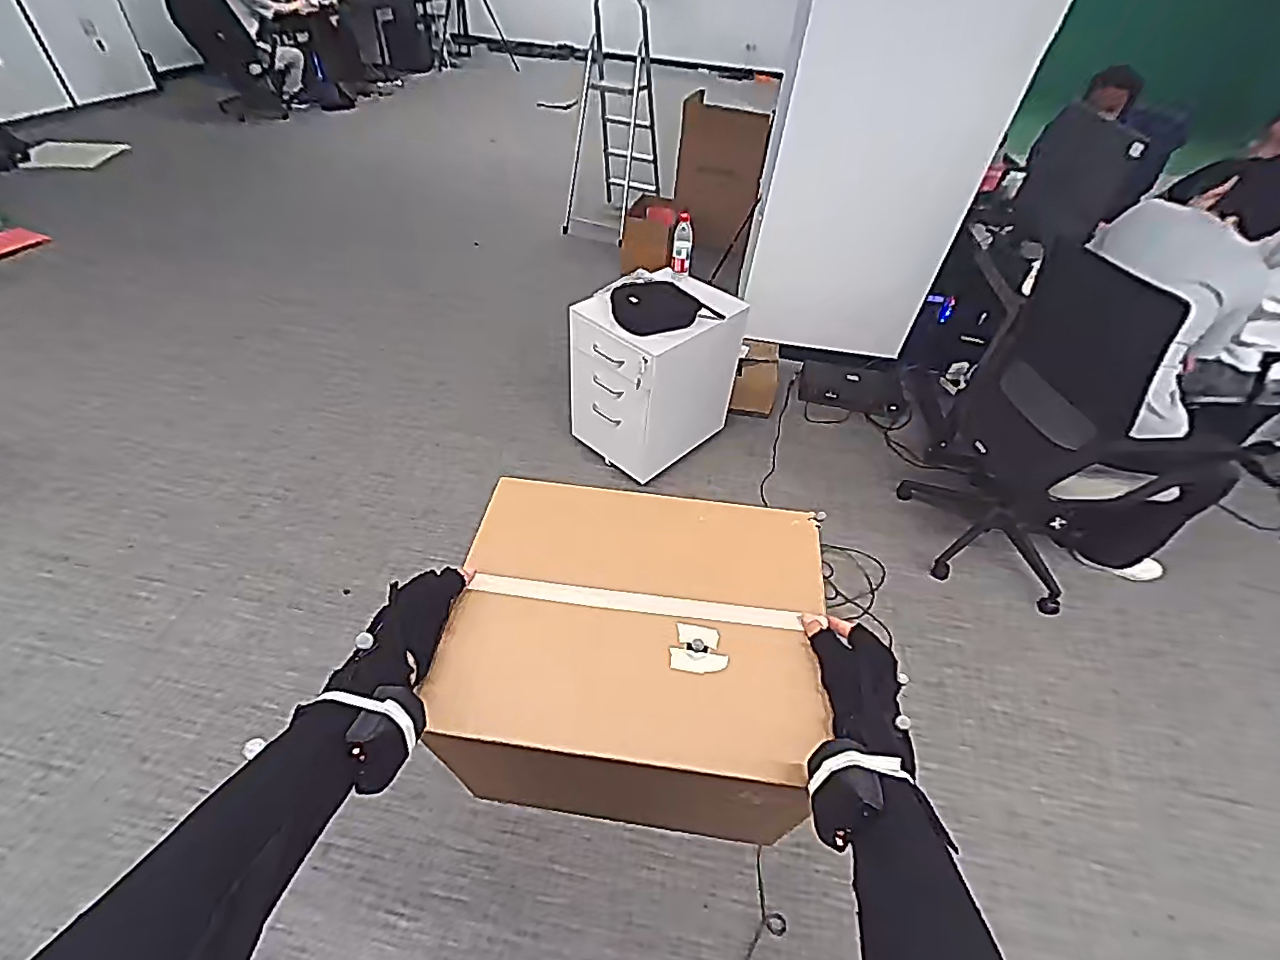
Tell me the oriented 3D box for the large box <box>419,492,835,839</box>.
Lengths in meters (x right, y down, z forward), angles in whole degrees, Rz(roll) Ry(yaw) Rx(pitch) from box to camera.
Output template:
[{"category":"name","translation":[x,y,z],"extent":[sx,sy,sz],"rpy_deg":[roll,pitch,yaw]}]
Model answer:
[{"category":"large box","translation":[-0.006,0.246,0.713],"extent":[0.408,0.320,0.320],"rpy_deg":[7,49,3]}]
